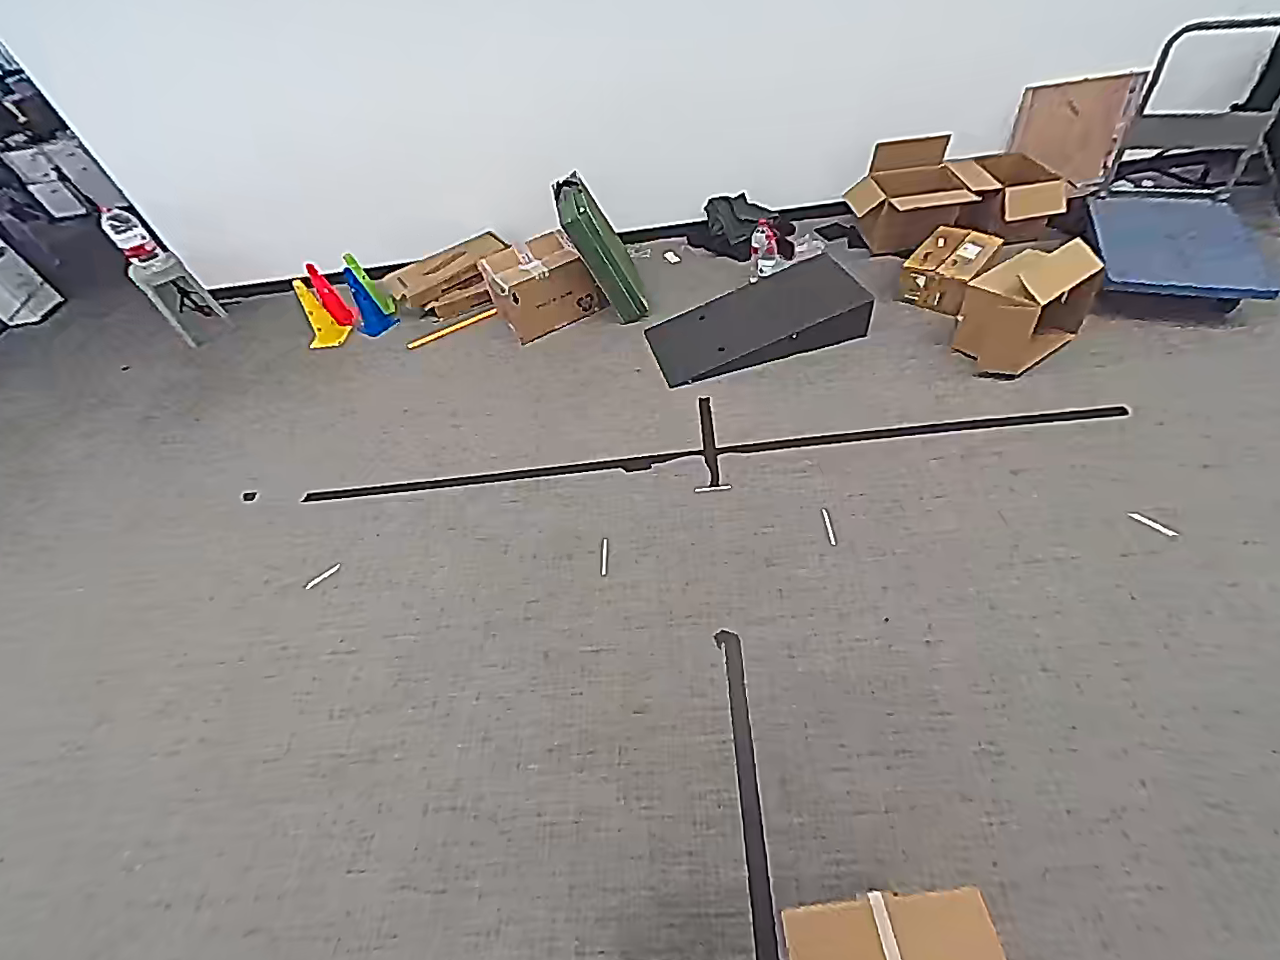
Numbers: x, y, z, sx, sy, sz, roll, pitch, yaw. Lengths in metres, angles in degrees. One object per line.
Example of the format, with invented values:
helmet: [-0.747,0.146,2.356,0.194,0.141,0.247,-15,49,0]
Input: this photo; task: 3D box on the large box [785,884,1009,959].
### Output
large box: [0.436,0.909,0.851,0.320,0.320,0.408,-13,49,8]
